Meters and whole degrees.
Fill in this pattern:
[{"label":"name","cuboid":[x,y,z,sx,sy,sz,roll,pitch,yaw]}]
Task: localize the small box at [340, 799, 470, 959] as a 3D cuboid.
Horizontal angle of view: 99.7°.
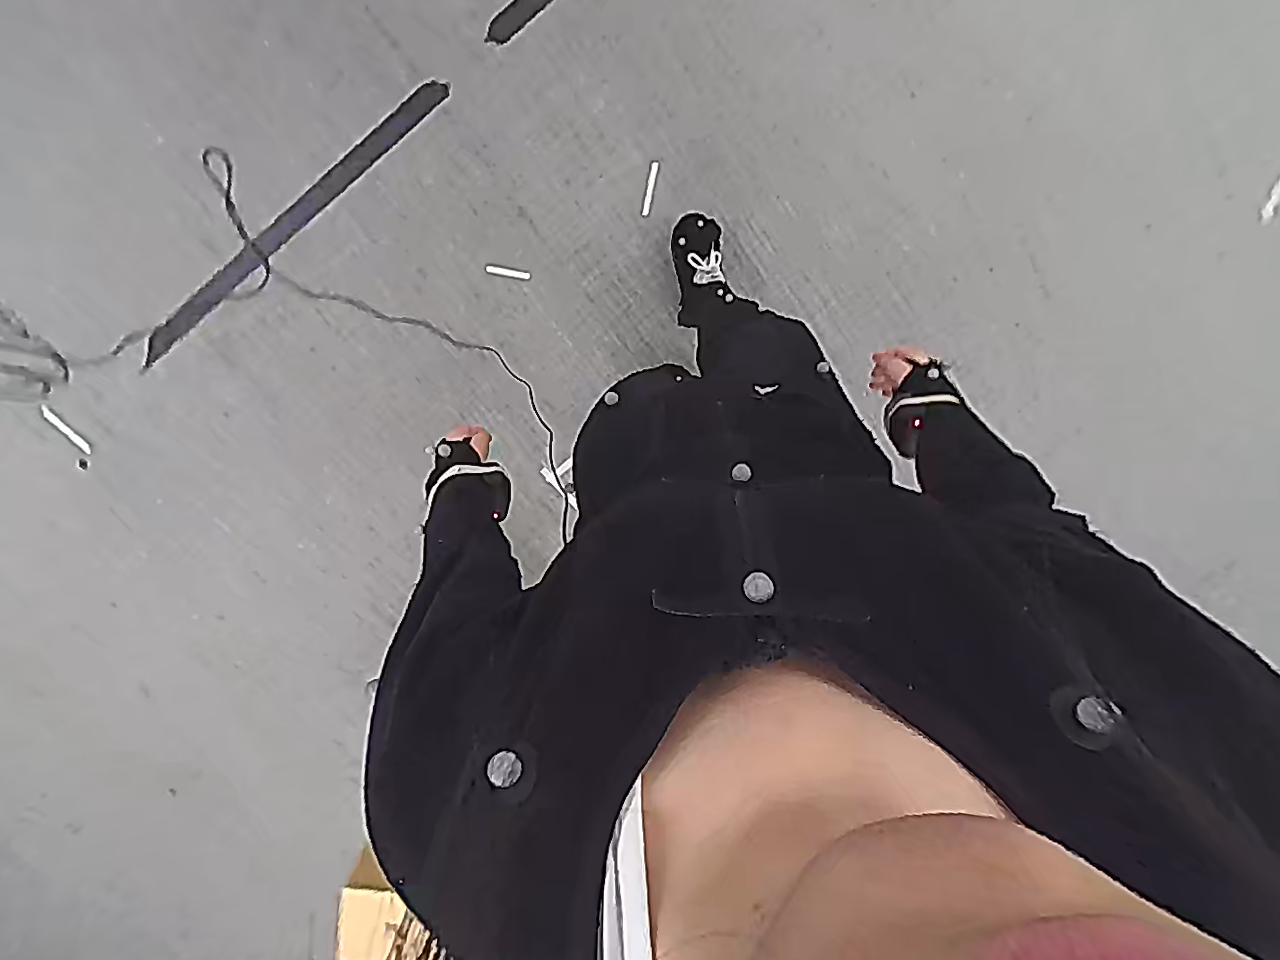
[{"label":"small box","cuboid":[-0.411,0.709,0.967,0.168,0.176,0.179,10,107,-6]}]
